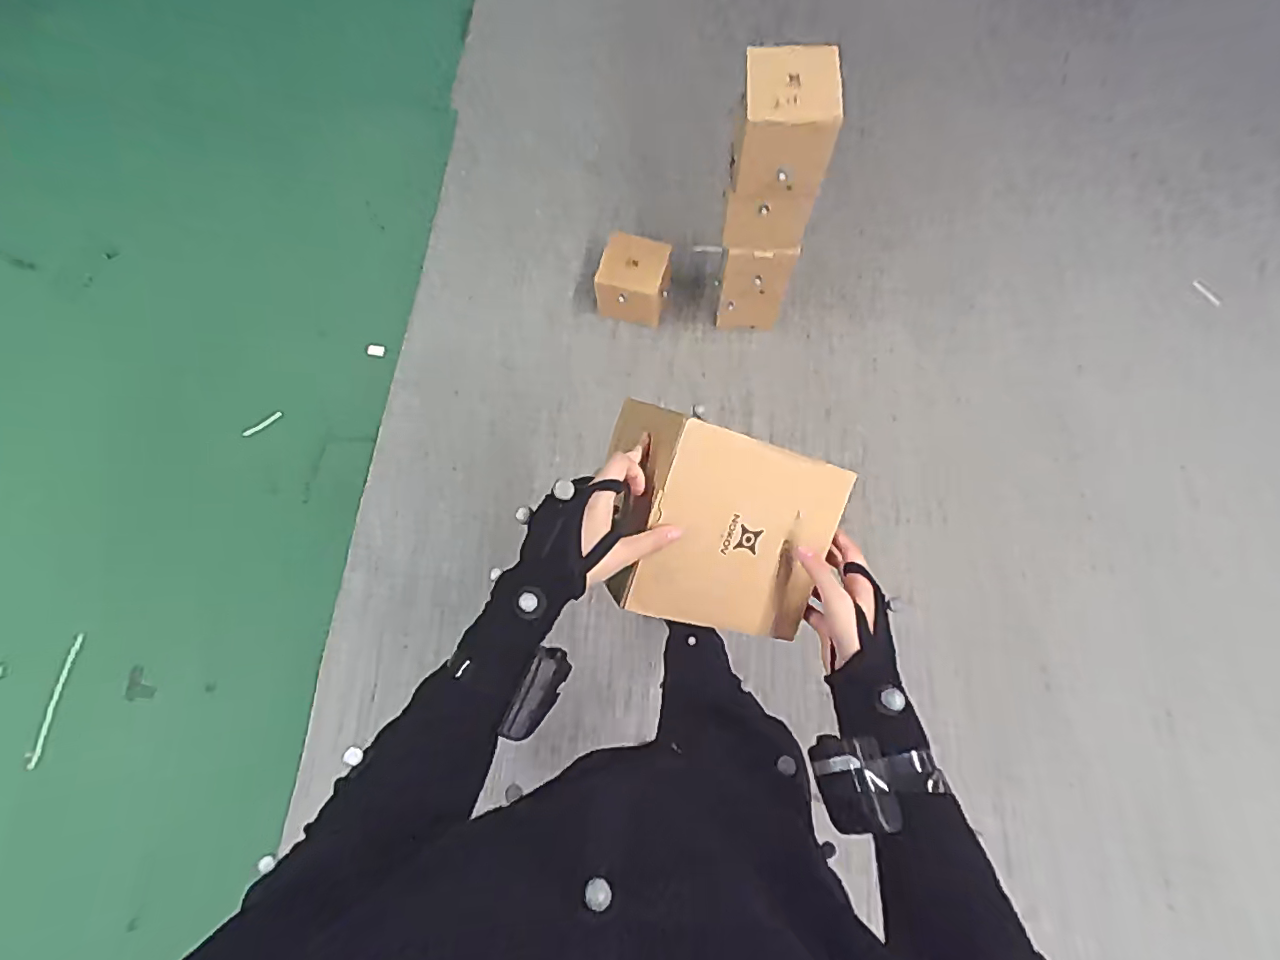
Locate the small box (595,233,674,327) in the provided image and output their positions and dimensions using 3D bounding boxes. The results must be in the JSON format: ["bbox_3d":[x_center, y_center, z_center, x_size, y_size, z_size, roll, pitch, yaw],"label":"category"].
[{"bbox_3d":[-0.010,-0.554,1.521,0.179,0.176,0.168,16,76,8],"label":"small box"}]

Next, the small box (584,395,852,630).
[{"bbox_3d":[0.059,0.021,0.525,0.179,0.176,0.168,16,98,-21],"label":"small box"}]

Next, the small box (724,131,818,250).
[{"bbox_3d":[0.280,-0.629,1.187,0.179,0.176,0.168,4,74,3],"label":"small box"}]

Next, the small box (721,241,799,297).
[{"bbox_3d":[0.295,-0.577,1.343,0.168,0.176,0.179,3,75,3],"label":"small box"}]

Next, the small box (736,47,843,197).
[{"bbox_3d":[0.276,-0.675,1.029,0.168,0.176,0.179,3,74,4],"label":"small box"}]
